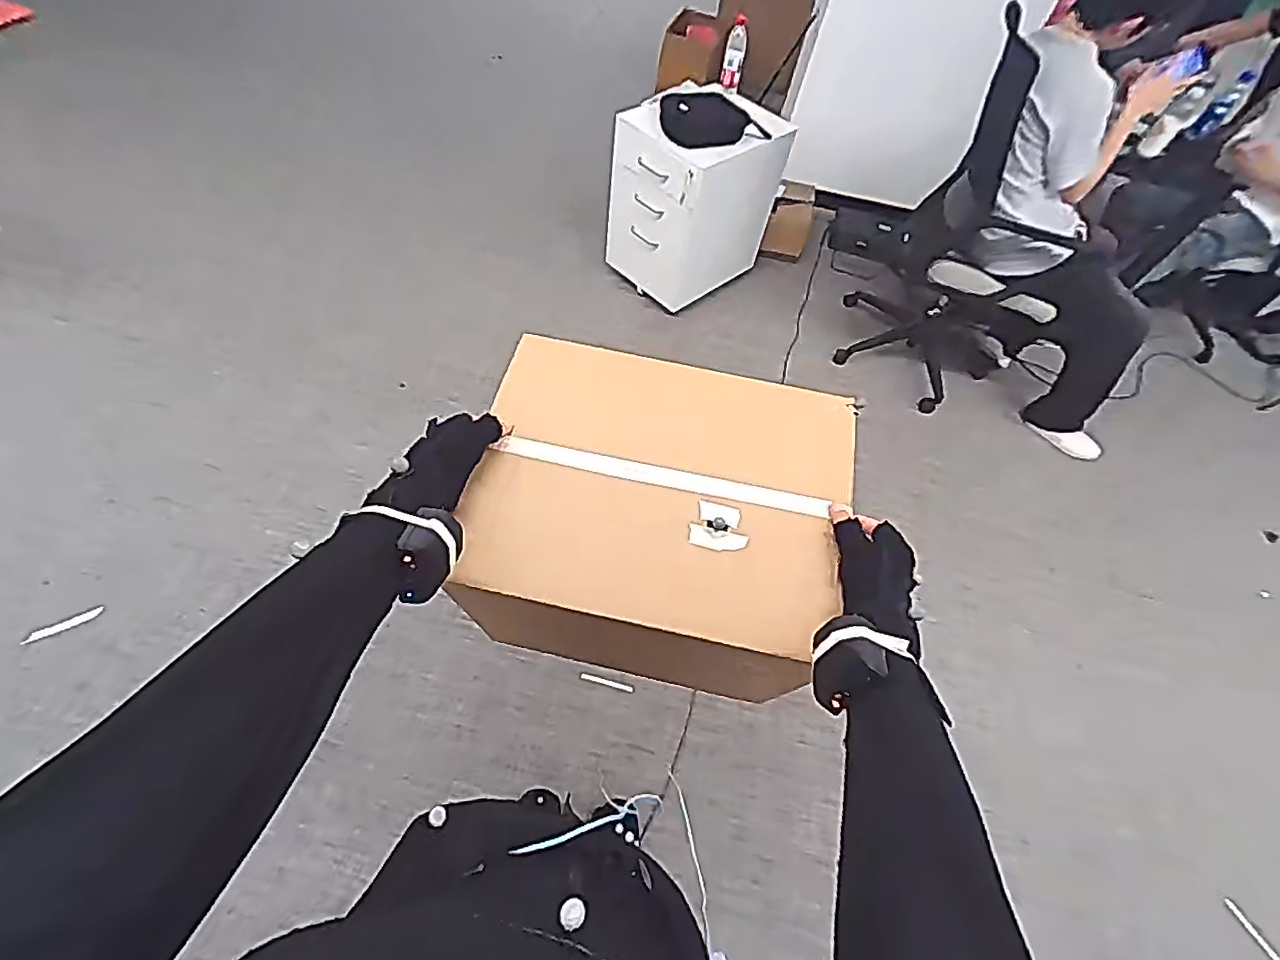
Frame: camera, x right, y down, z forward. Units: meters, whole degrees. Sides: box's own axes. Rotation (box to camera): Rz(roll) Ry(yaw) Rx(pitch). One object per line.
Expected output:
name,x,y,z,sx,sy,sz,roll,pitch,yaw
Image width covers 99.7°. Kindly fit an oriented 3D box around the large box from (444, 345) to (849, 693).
large box,0.018,0.069,0.723,0.408,0.320,0.320,12,64,3
